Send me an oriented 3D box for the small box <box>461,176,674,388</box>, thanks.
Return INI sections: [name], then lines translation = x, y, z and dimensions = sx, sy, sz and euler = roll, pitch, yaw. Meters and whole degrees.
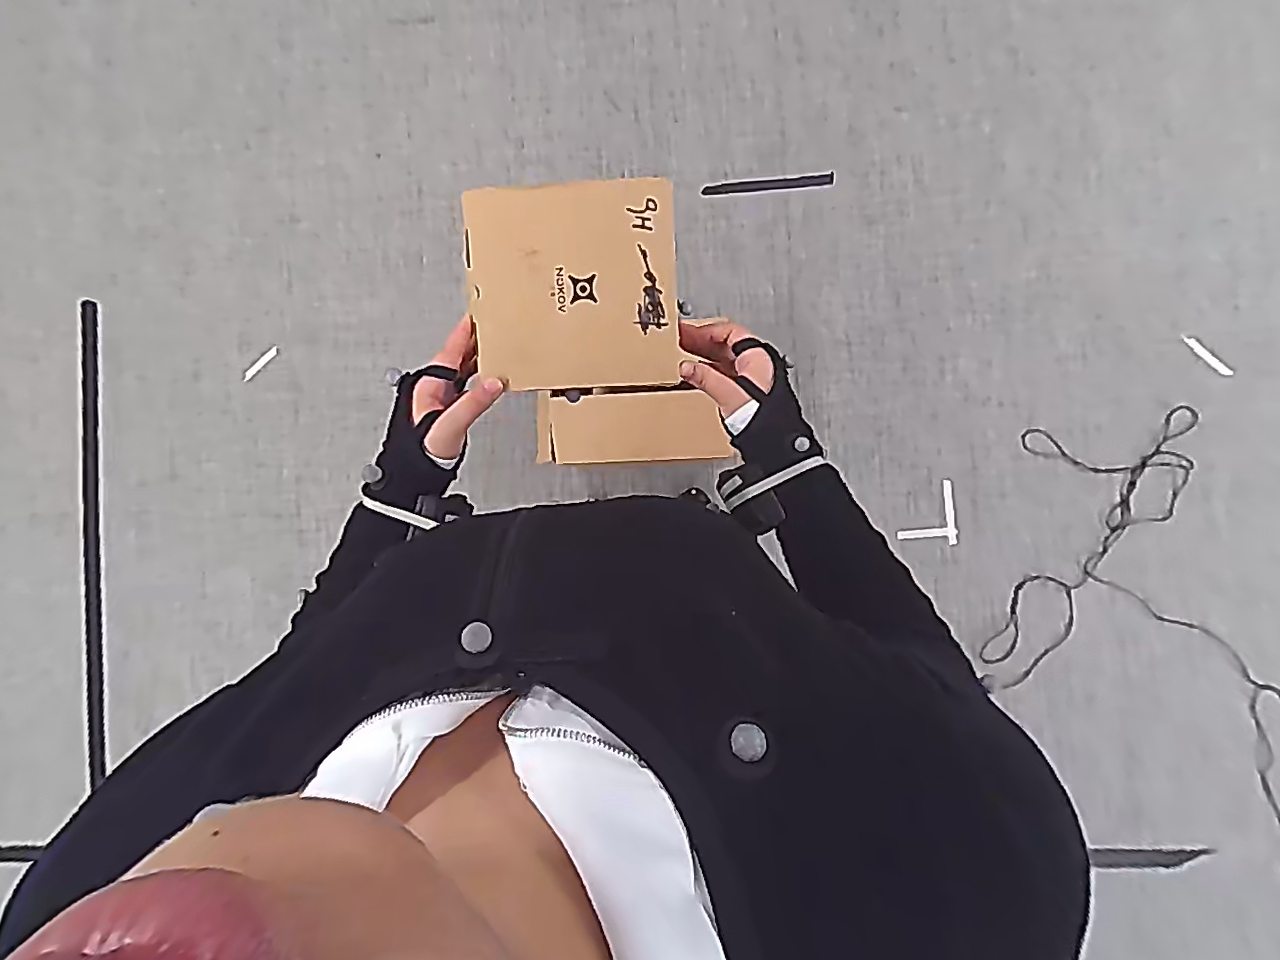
[small box]
translation = -0.056, -0.176, 0.532
dimensions = 0.179, 0.176, 0.168
euler = -2, 100, 2
